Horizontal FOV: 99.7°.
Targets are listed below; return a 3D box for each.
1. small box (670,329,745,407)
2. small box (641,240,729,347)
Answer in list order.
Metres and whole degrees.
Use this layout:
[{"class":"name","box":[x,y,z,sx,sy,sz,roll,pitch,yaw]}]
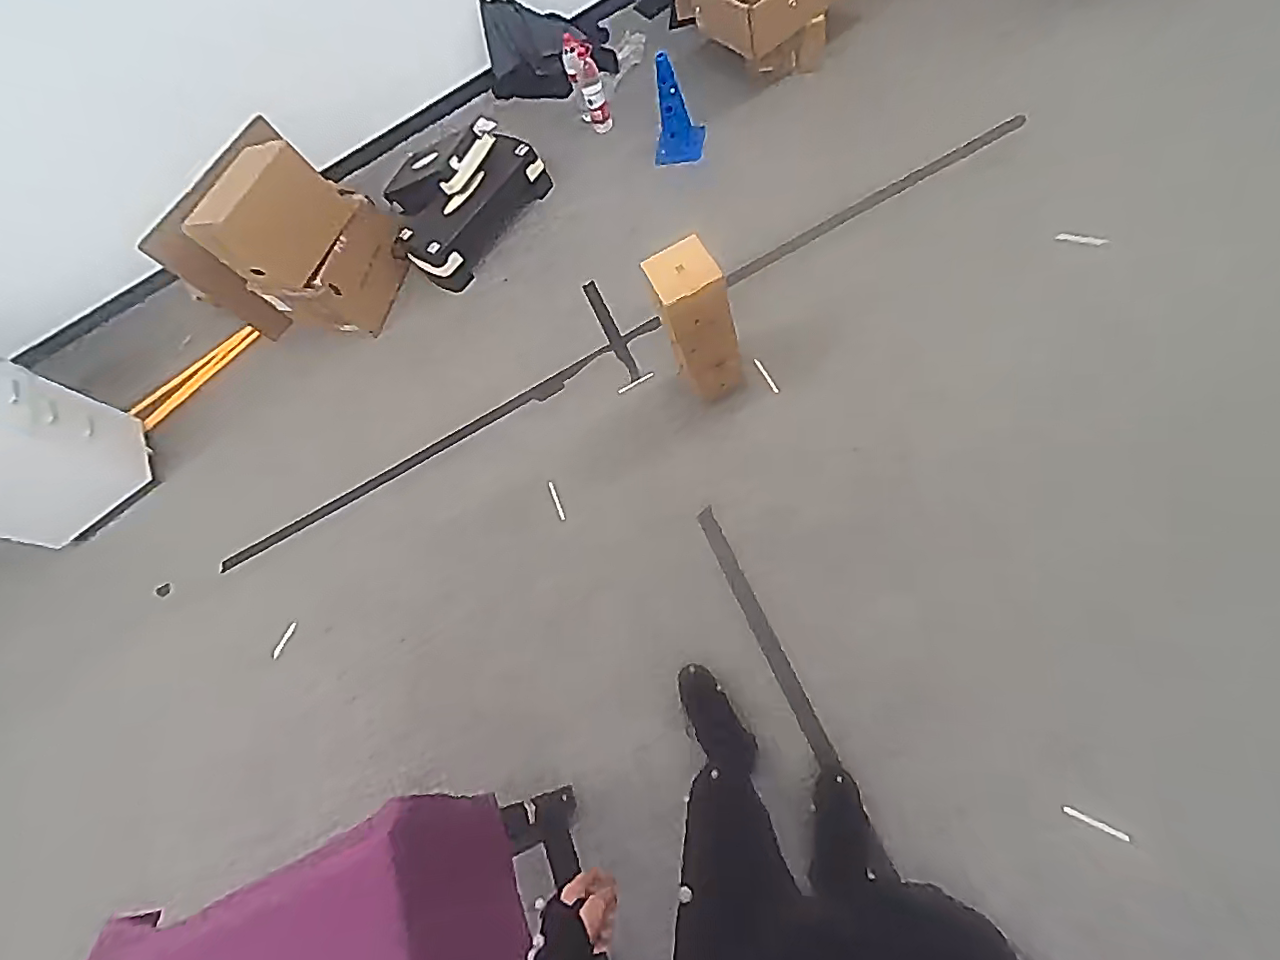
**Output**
[{"class":"small box","box":[0.221,-0.370,1.741,0.168,0.176,0.179,-31,63,3]},{"class":"small box","box":[0.124,-0.495,1.454,0.168,0.176,0.179,-27,63,4]}]
